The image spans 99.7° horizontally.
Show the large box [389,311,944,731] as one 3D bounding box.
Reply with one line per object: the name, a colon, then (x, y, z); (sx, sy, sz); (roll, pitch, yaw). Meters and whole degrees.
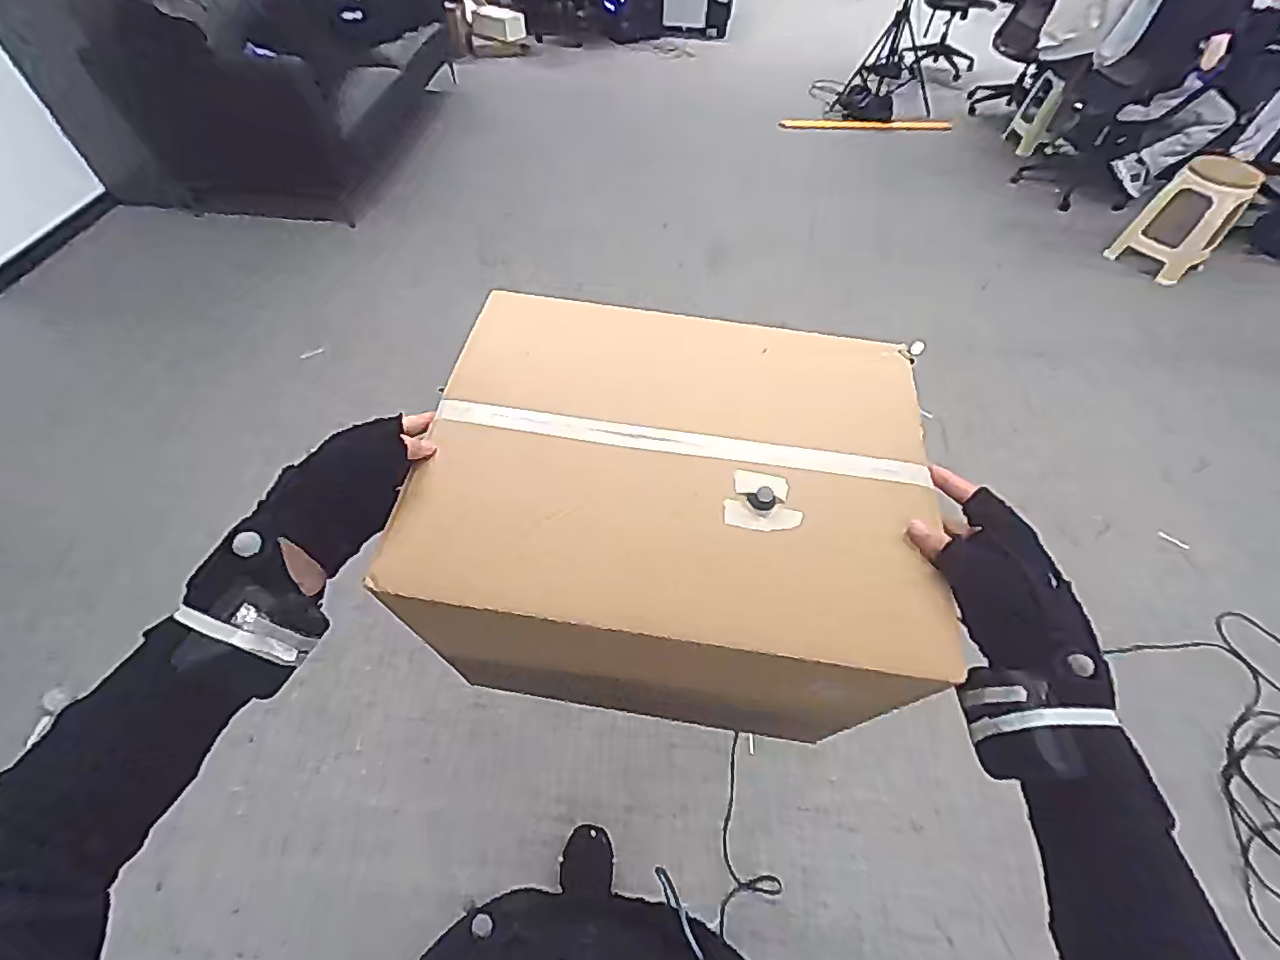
large box: (0.026, 0.059, 0.582); (0.408, 0.320, 0.320); (8, 58, 3)
